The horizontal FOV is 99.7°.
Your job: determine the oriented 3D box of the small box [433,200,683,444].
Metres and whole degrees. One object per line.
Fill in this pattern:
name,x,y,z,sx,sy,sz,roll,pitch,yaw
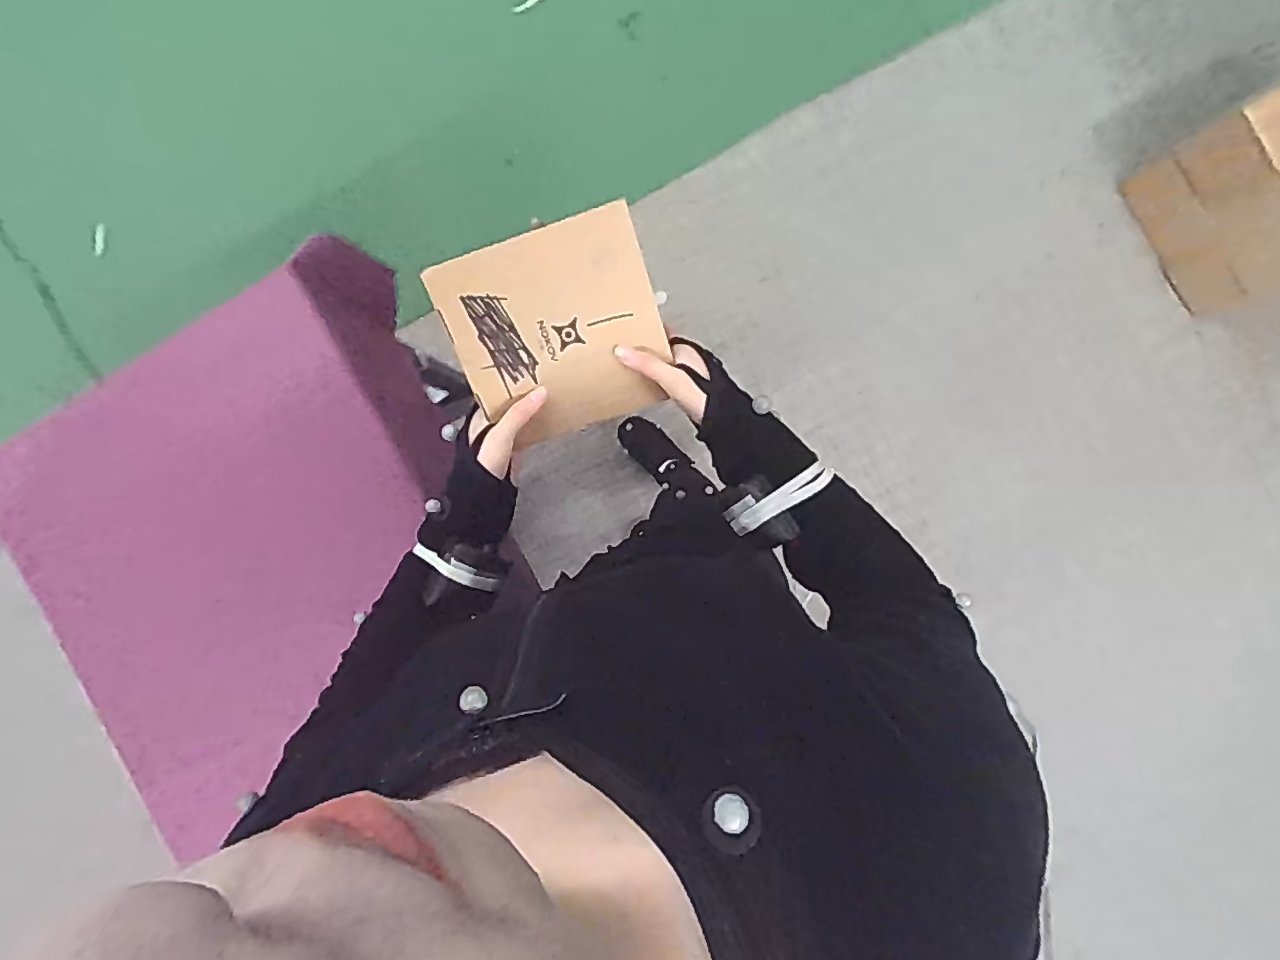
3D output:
small box,-0.067,-0.155,0.530,0.179,0.176,0.168,-16,112,3
